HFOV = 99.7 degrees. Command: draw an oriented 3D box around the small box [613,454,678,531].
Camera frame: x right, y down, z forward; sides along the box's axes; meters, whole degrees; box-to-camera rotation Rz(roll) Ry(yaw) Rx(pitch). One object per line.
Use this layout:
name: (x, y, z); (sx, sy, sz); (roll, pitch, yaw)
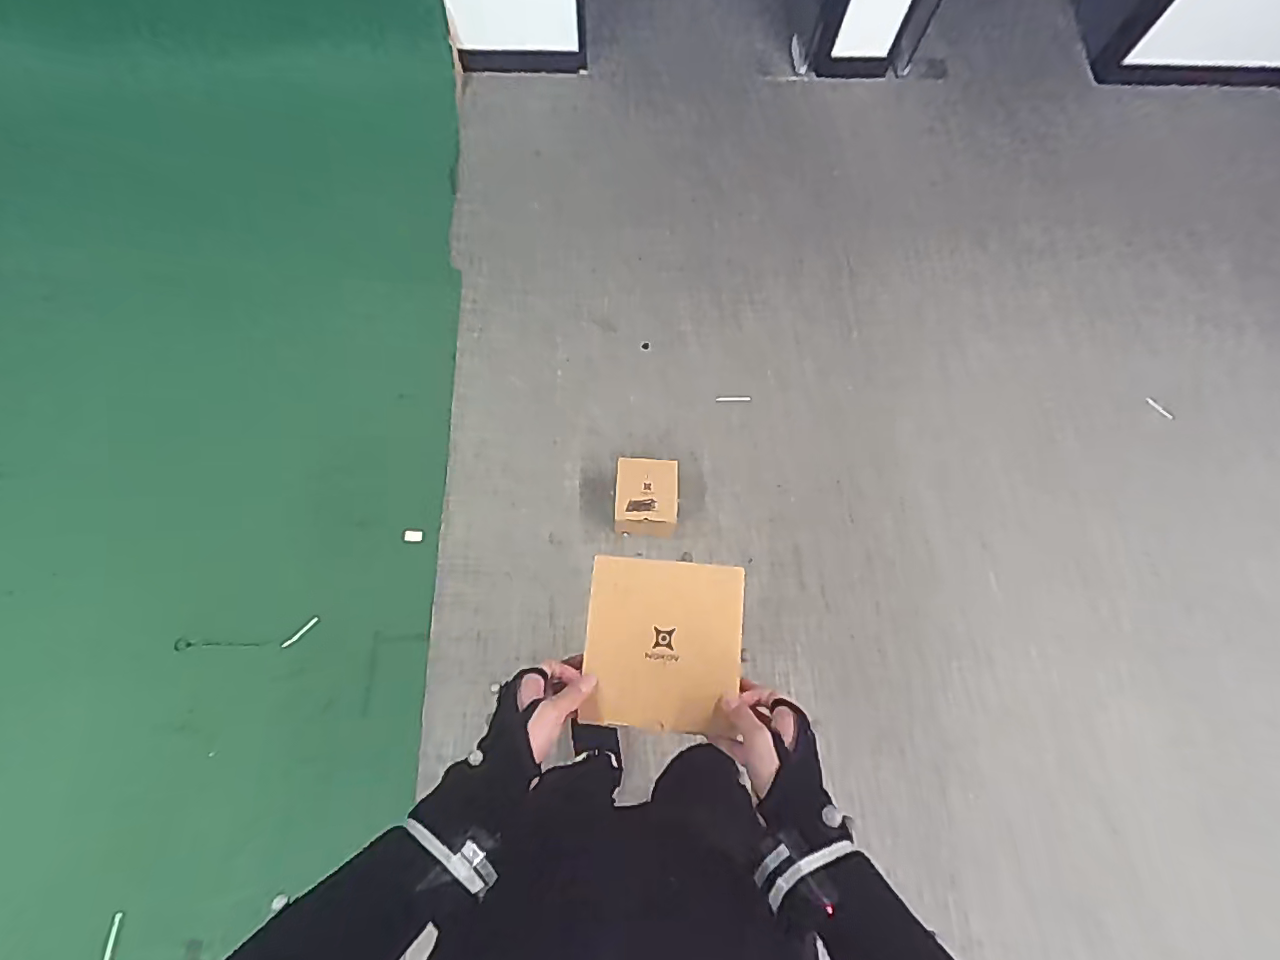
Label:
small box: (0.014, 0.040, 1.511); (0.168, 0.176, 0.179); (4, 71, -2)
